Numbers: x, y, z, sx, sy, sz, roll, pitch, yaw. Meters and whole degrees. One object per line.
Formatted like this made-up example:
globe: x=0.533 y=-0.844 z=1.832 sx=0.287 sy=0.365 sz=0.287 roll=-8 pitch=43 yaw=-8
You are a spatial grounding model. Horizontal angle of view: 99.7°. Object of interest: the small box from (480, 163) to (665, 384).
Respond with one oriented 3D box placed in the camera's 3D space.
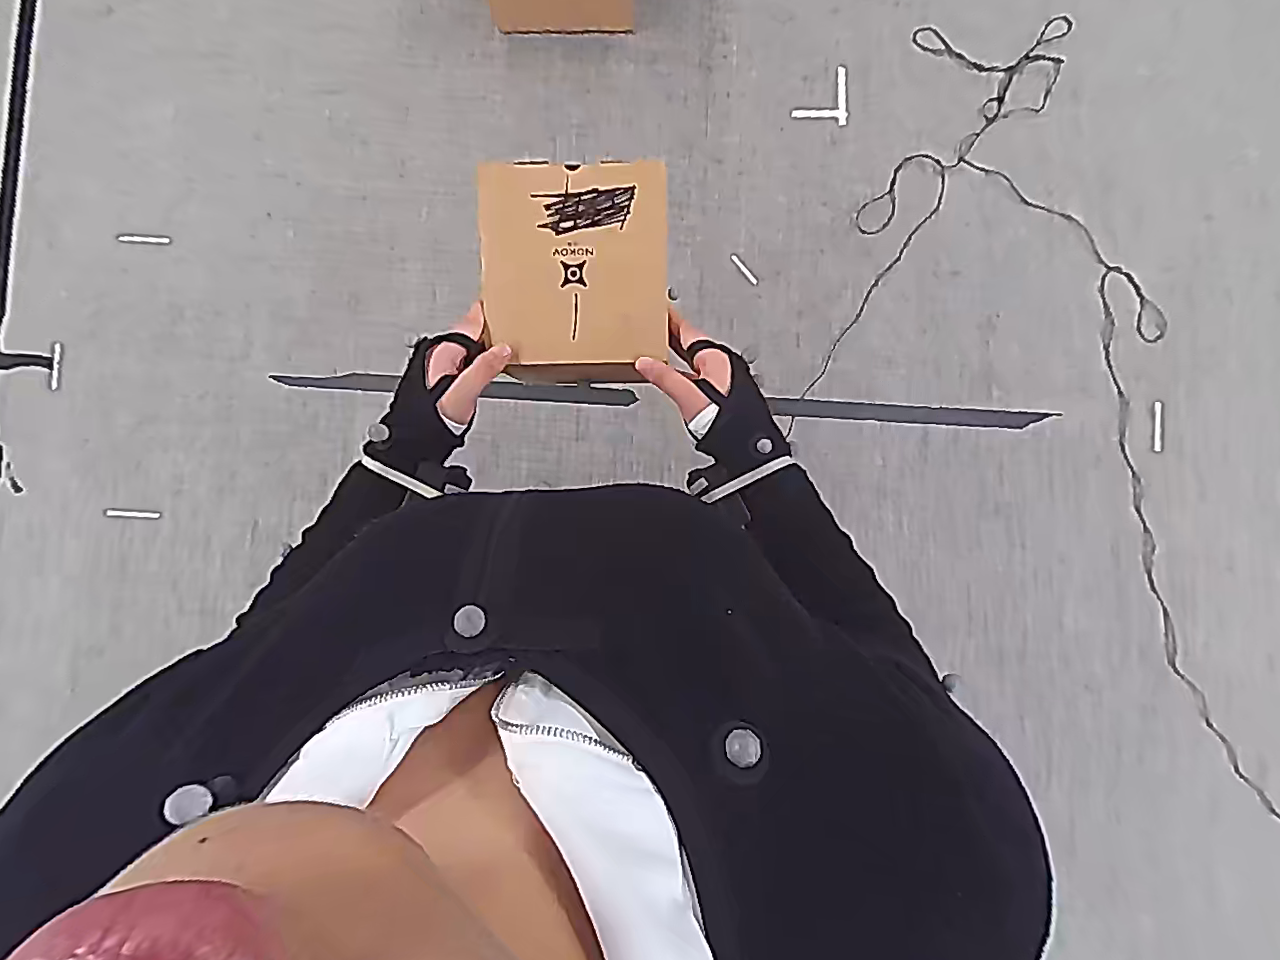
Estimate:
small box: x=-0.061 y=-0.197 z=0.560 sx=0.168 sy=0.176 sz=0.179 roll=-1 pitch=94 yaw=0
